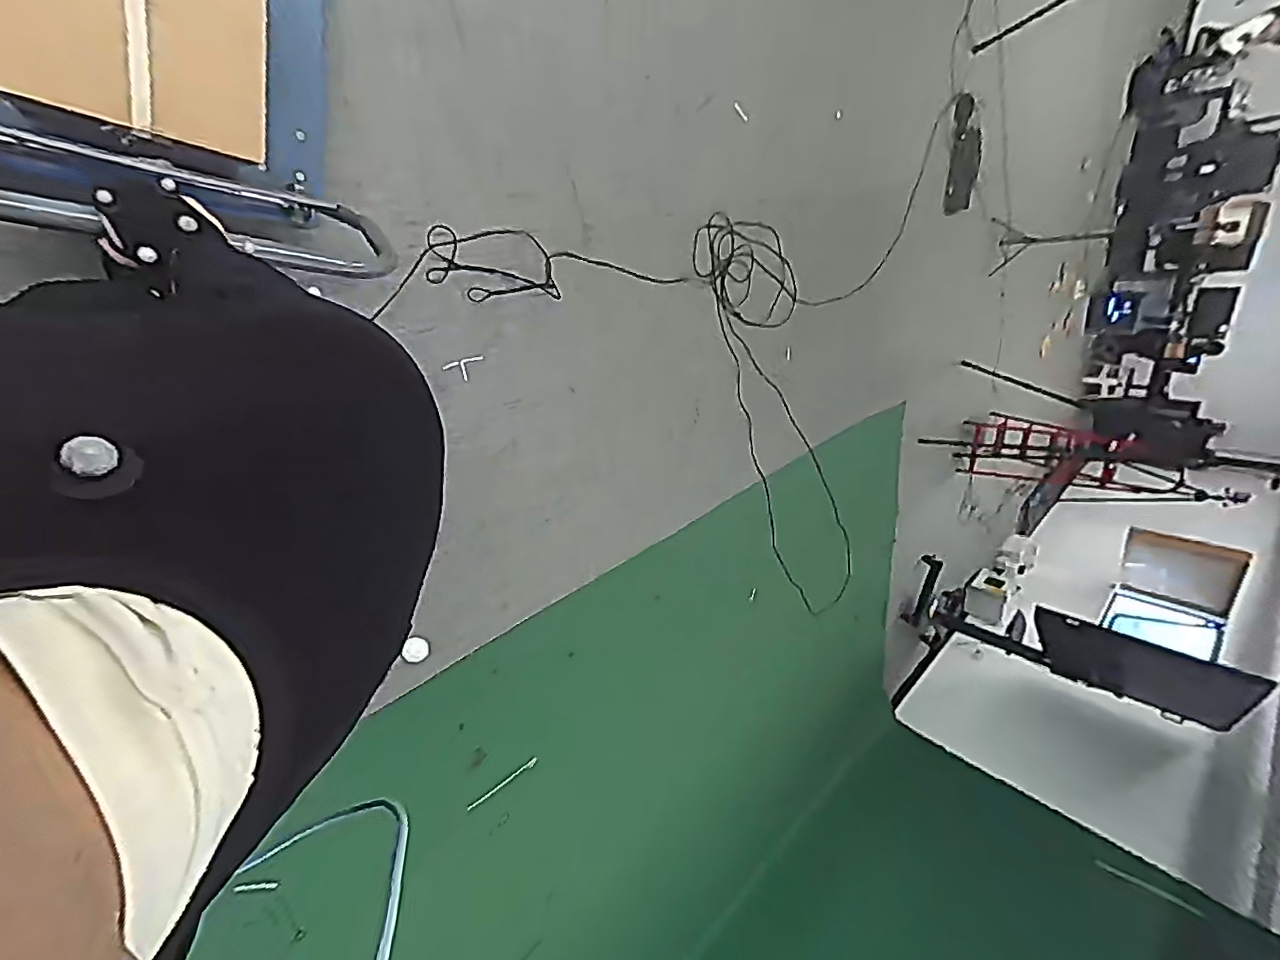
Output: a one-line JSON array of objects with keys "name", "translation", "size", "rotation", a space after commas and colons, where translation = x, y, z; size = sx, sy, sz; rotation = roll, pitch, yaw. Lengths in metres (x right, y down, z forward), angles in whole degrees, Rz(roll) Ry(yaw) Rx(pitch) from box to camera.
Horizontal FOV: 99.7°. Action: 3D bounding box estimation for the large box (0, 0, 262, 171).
[{"name": "large box", "translation": [-0.815, -0.760, 0.859], "size": [0.320, 0.320, 0.408], "rotation": [-4, 114, -43]}]
